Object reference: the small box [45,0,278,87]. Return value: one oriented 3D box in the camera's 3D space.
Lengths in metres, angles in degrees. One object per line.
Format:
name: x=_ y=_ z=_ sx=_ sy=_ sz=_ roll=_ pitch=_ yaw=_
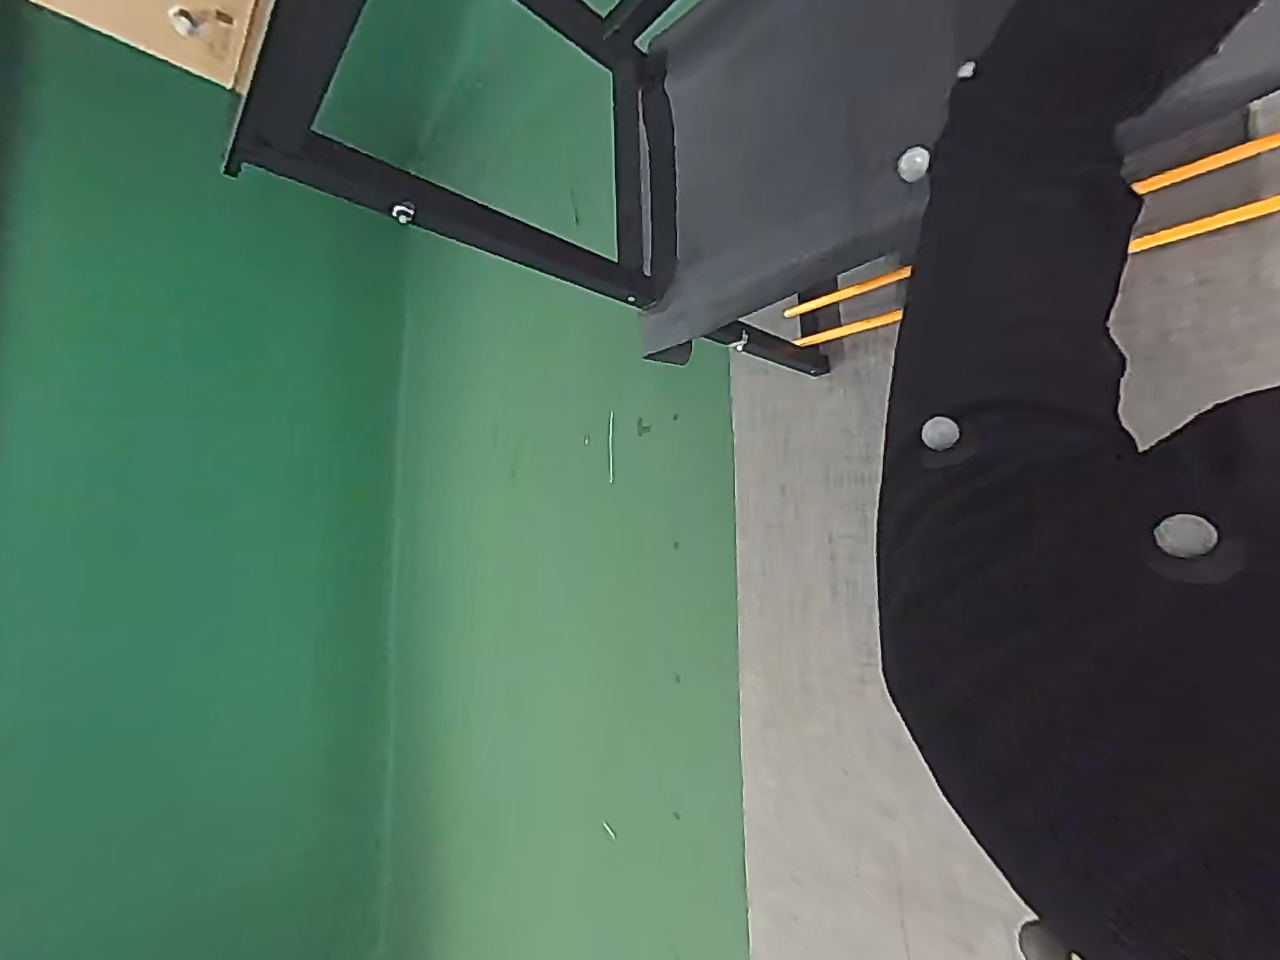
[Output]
small box: x=-0.481 y=-0.562 z=0.549 sx=0.168 sy=0.176 sz=0.179 roll=-10 pitch=81 yaw=46
